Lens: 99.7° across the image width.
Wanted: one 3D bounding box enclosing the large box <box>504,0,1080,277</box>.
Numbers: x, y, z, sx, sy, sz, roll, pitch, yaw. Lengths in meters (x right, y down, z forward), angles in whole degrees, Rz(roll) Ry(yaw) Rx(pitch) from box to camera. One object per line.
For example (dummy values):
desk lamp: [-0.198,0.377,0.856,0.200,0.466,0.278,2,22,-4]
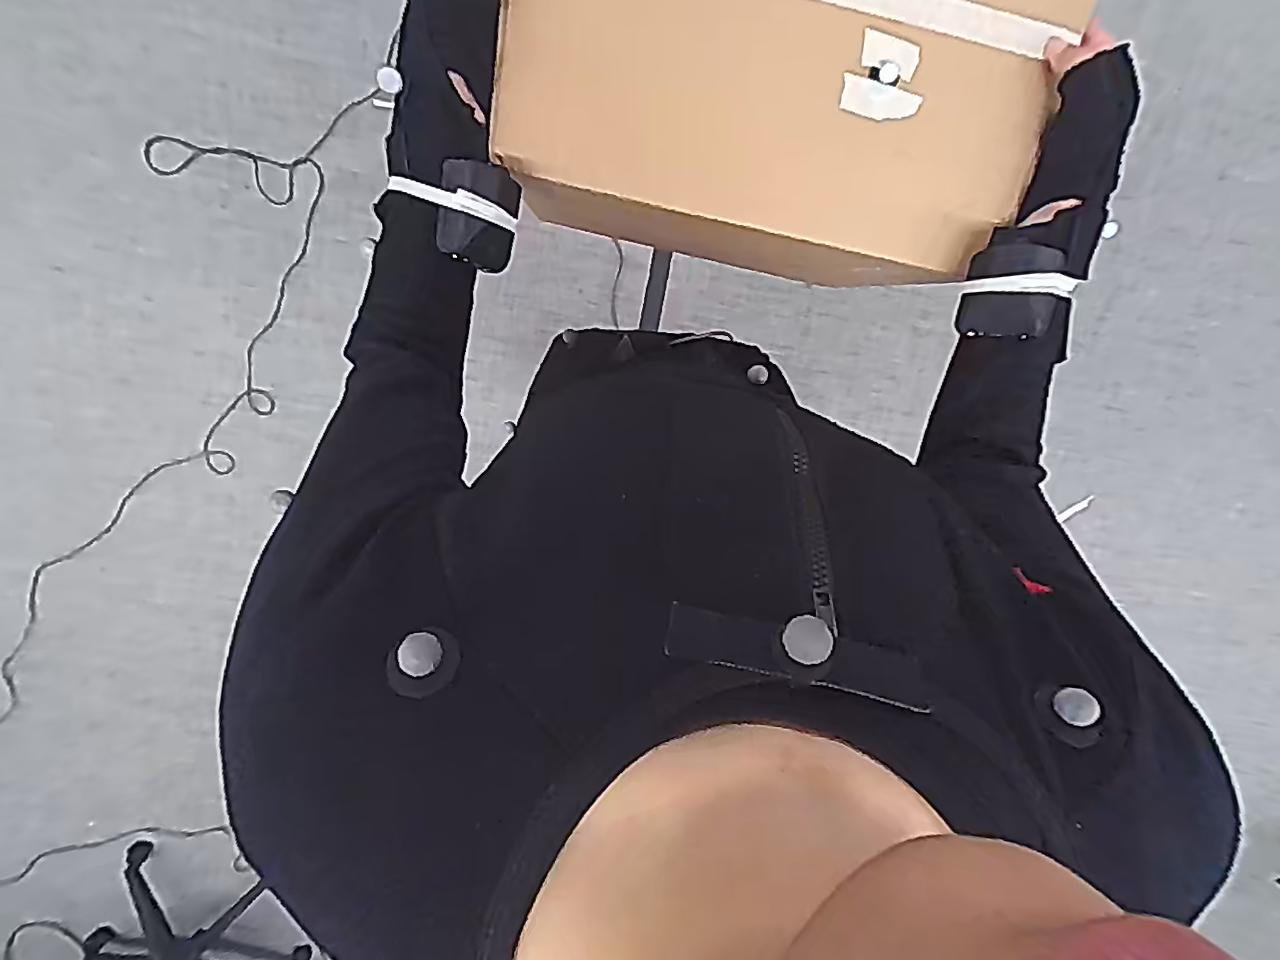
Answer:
large box: [0.105,-0.395,0.519,0.408,0.320,0.320,9,109,-8]
